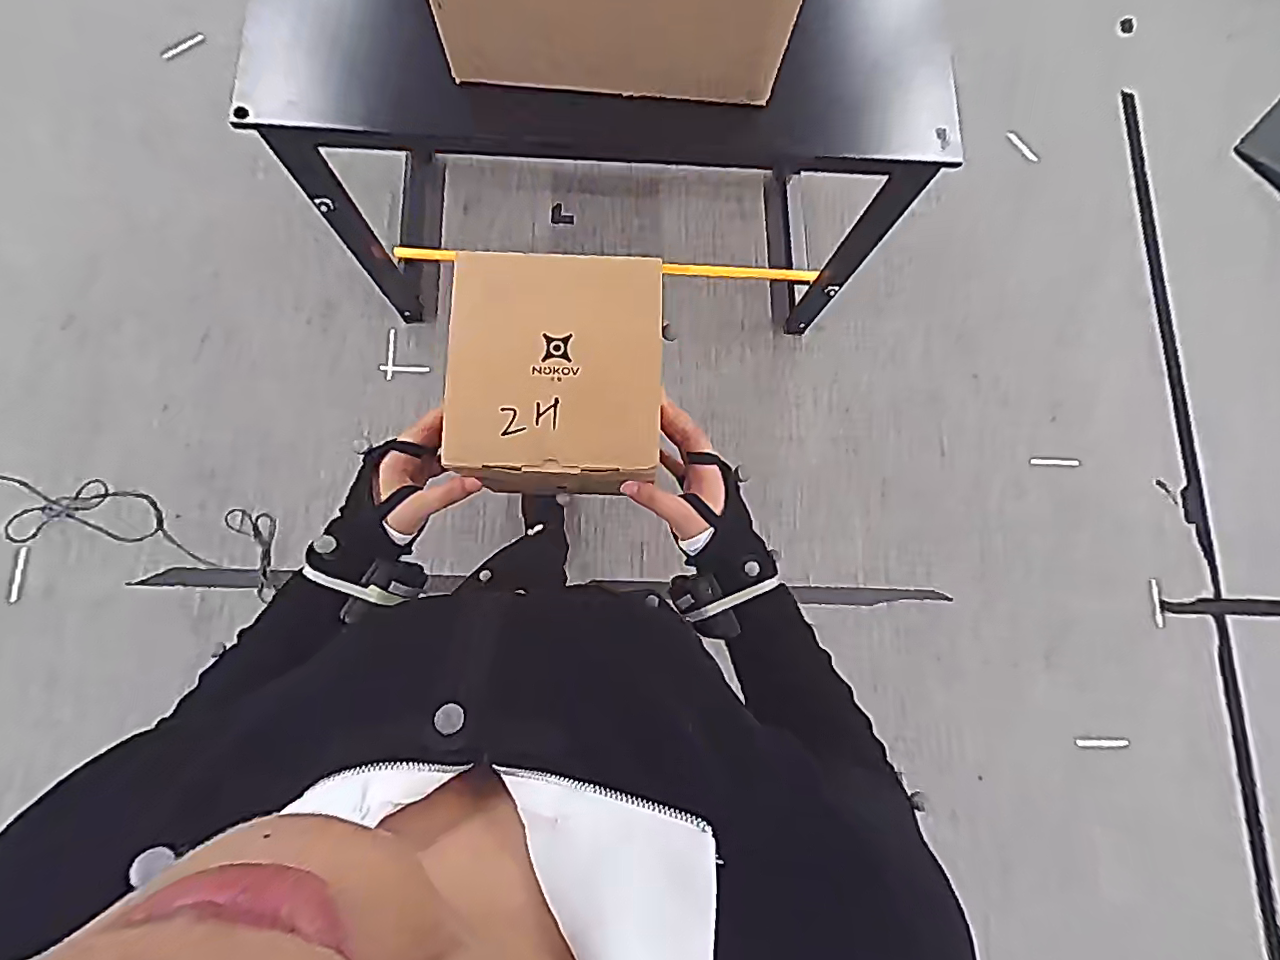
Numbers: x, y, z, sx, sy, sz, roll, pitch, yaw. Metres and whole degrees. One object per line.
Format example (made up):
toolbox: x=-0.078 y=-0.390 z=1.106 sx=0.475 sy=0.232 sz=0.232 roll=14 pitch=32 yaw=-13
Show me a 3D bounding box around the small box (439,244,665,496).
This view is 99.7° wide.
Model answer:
small box: x=-0.068 y=-0.086 z=0.495 sx=0.168 sy=0.176 sz=0.179 roll=2 pitch=81 yaw=-1
